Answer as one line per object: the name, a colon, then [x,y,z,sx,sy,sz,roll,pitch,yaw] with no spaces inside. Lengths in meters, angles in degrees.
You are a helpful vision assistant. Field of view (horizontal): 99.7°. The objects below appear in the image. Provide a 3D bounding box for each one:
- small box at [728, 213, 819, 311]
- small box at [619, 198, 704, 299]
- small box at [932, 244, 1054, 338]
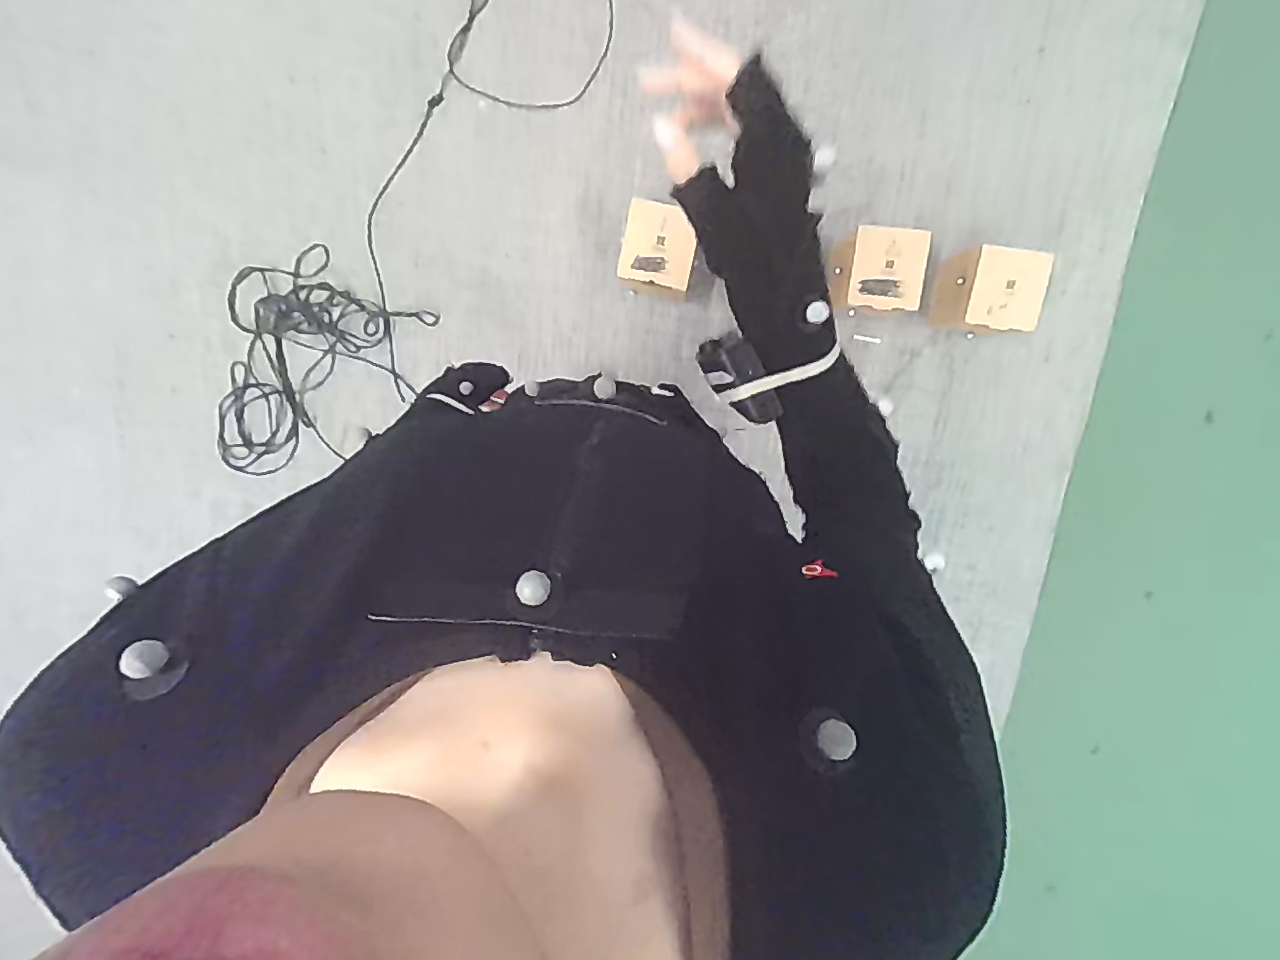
small box: [0.313,-0.519,1.307,0.168,0.176,0.179,8,101,1]
small box: [0.053,-0.549,1.309,0.168,0.176,0.179,13,100,0]
small box: [0.838,-0.447,1.304,0.168,0.176,0.179,8,101,1]
